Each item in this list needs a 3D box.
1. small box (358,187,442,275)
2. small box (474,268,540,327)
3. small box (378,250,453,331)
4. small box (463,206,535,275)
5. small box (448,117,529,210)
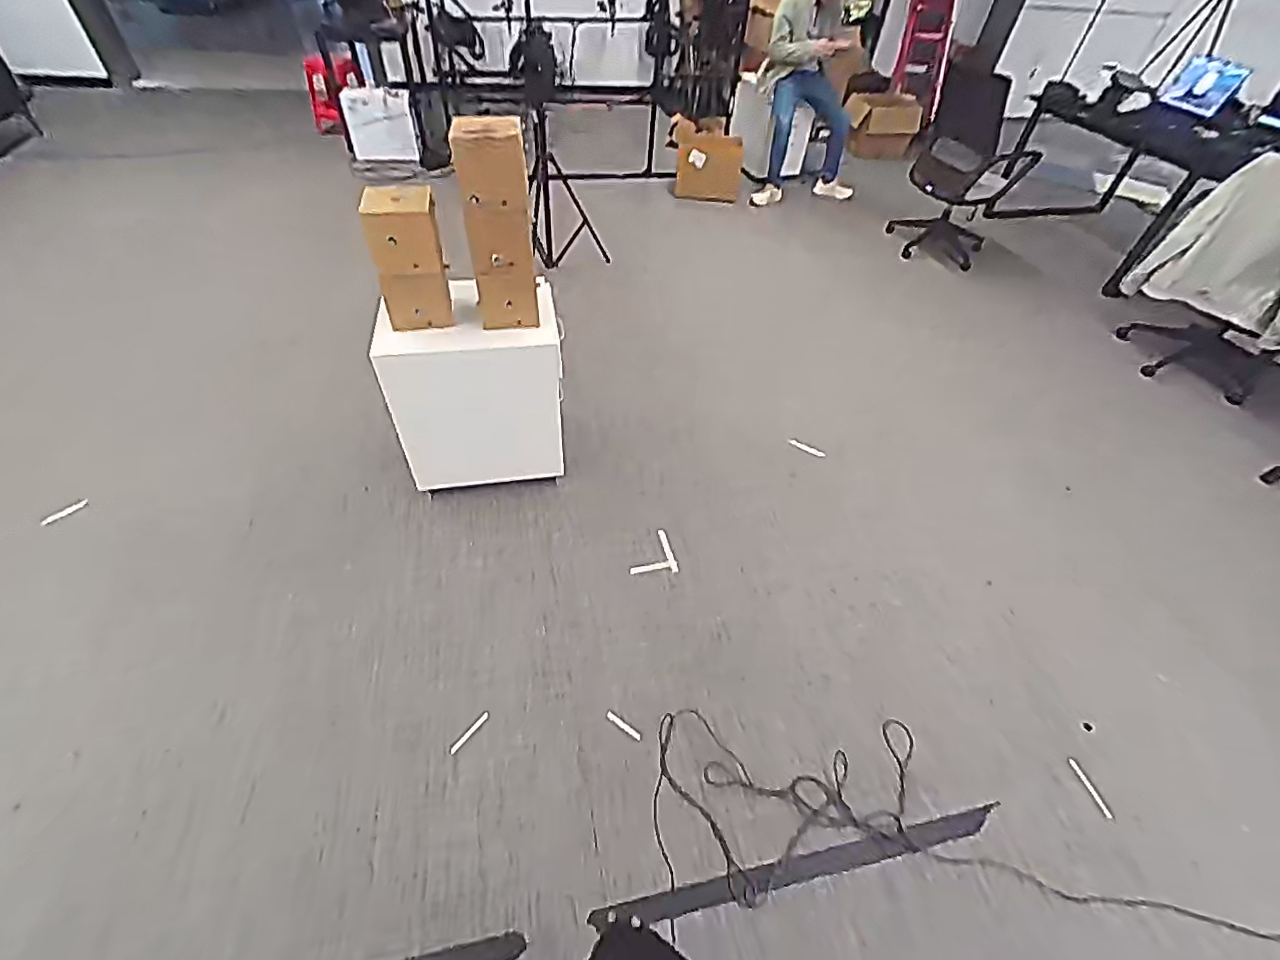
[{"bbox_3d":[-0.628,-0.659,1.438,0.168,0.176,0.179,-7,48,-12],"label":"small box"},{"bbox_3d":[-0.389,-0.563,1.591,0.168,0.176,0.179,-7,49,-9],"label":"small box"},{"bbox_3d":[-0.641,-0.551,1.558,0.168,0.176,0.179,-8,49,-12],"label":"small box"},{"bbox_3d":[-0.382,-0.681,1.478,0.168,0.176,0.179,-7,49,-9],"label":"small box"},{"bbox_3d":[-0.372,-0.791,1.355,0.168,0.176,0.179,-6,46,-8],"label":"small box"}]
